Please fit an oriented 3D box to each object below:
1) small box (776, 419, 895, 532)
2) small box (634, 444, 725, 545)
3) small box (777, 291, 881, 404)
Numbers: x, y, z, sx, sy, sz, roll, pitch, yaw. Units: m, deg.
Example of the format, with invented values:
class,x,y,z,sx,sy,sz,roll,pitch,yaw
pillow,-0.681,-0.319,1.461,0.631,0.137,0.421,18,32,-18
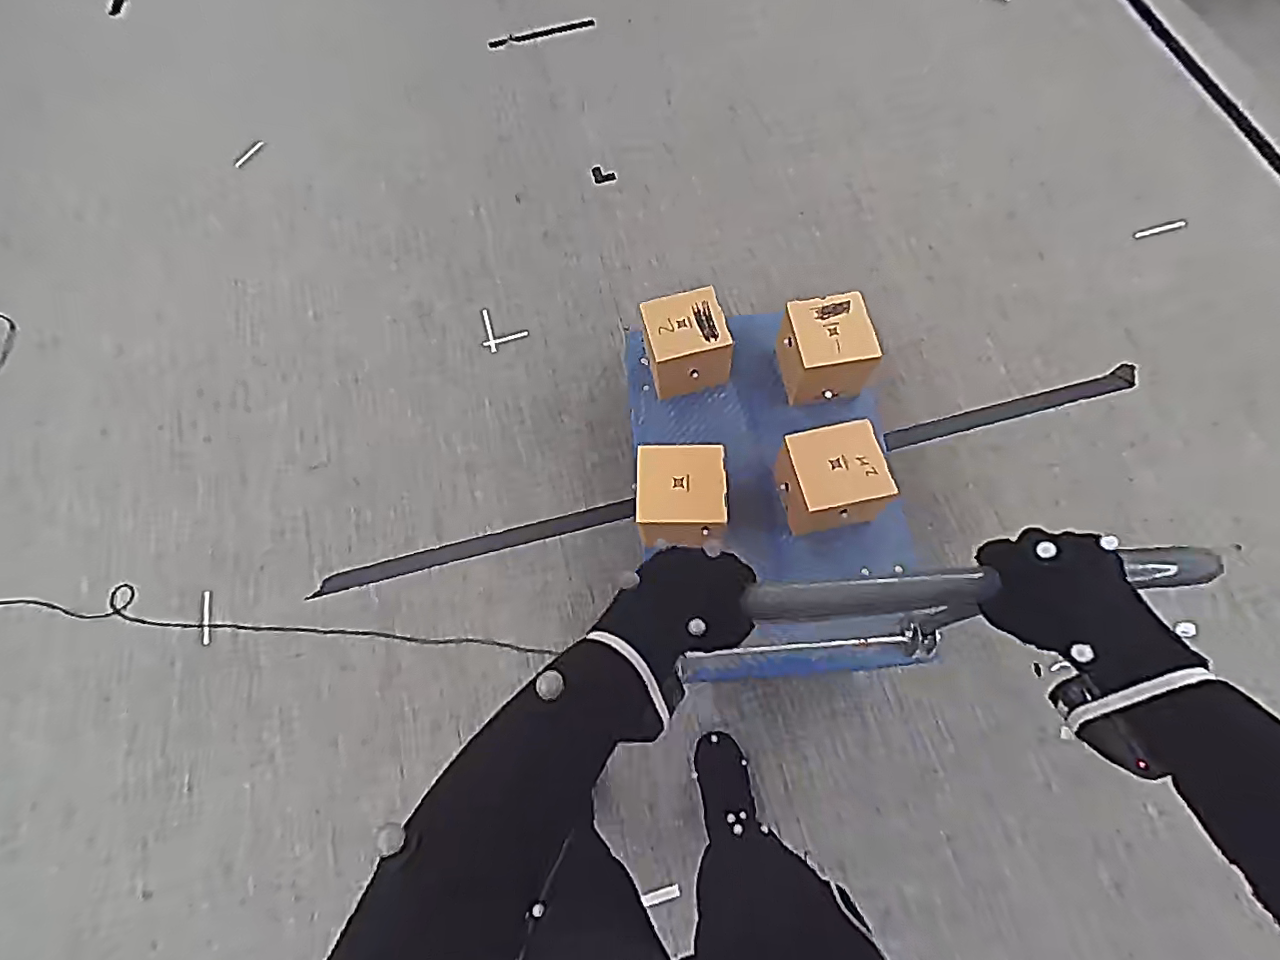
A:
class,x,y,z,sx,sy,sz,roll,pitch,yaw
small box,0.389,-0.002,1.115,0.179,0.176,0.168,-11,68,1
small box,0.083,0.034,1.128,0.179,0.176,0.168,0,67,3
small box,0.418,-0.296,1.230,0.168,0.176,0.179,-8,69,2
